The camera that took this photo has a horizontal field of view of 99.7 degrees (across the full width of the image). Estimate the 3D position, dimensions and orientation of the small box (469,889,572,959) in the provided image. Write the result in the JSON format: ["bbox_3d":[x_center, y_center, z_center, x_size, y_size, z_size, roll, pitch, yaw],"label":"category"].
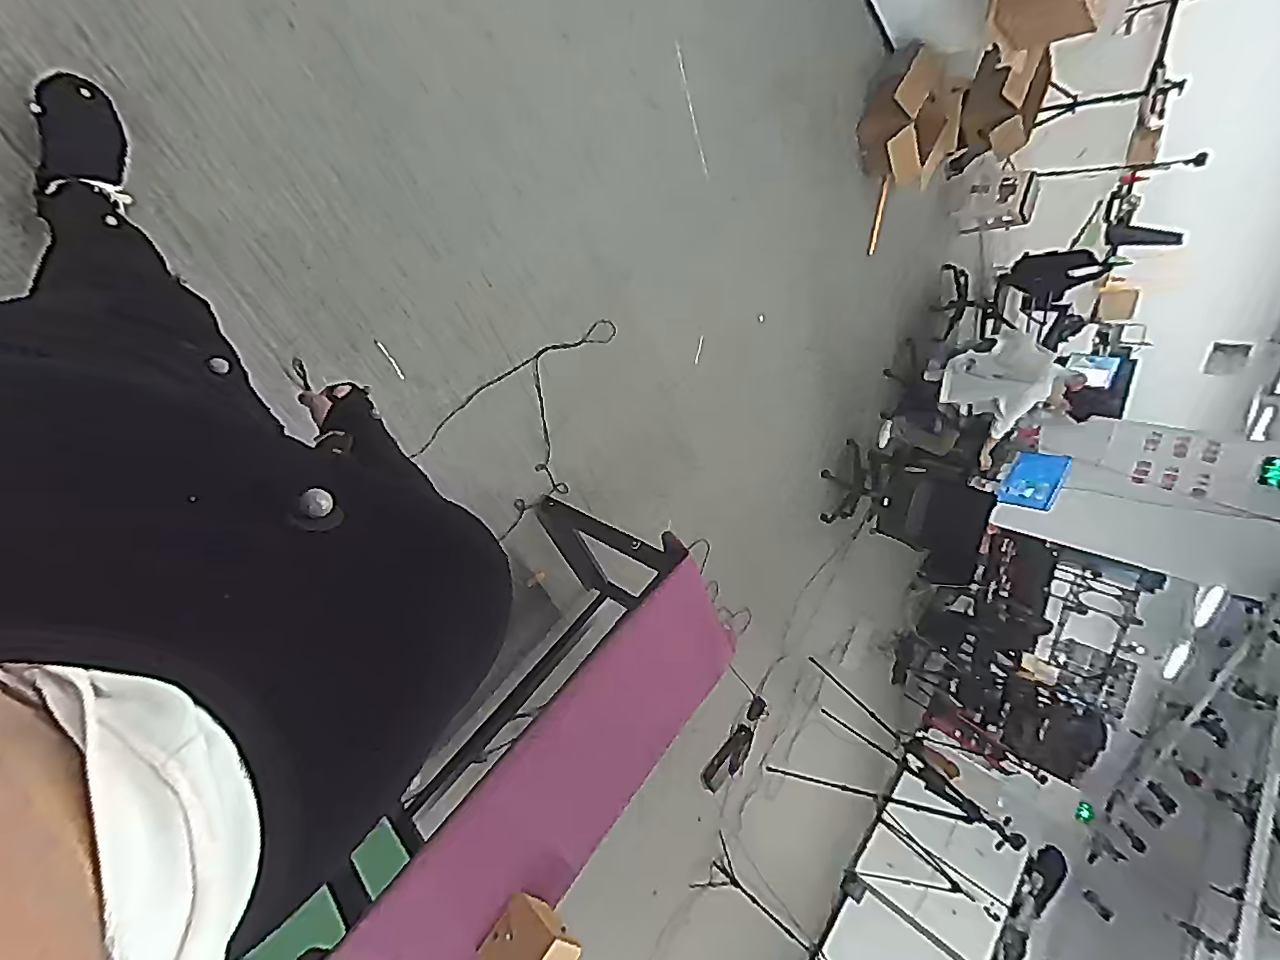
[{"bbox_3d":[-0.319,1.243,1.443,0.168,0.176,0.179,-47,133,-25],"label":"small box"}]
